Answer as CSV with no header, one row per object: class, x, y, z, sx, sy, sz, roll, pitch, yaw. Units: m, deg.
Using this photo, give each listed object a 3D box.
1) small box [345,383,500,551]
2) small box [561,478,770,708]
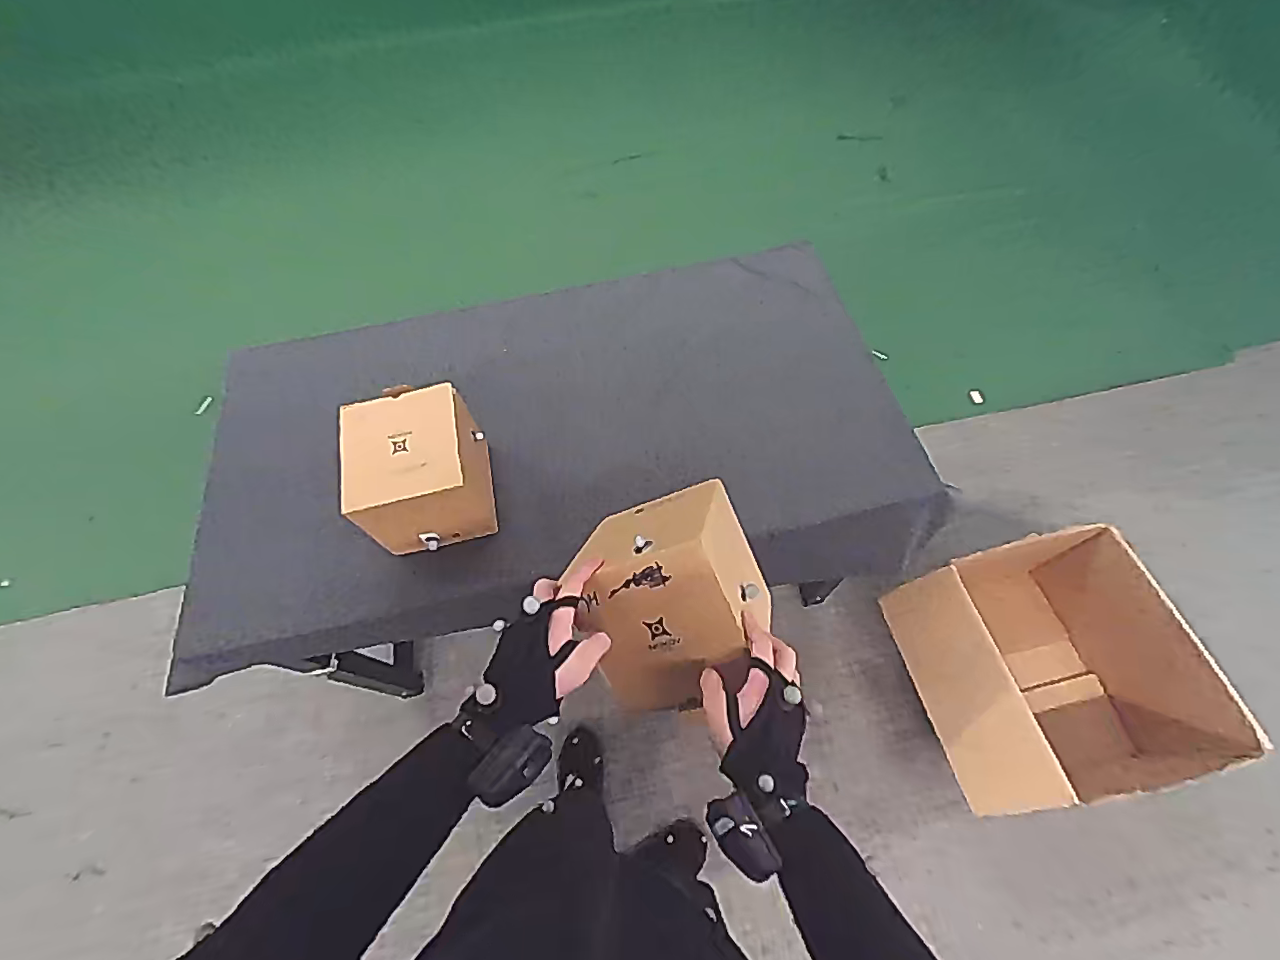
small box,-0.323,-0.016,0.823,0.168,0.176,0.179,-14,62,-4
small box,0.043,0.122,0.618,0.168,0.179,0.176,-21,14,21
